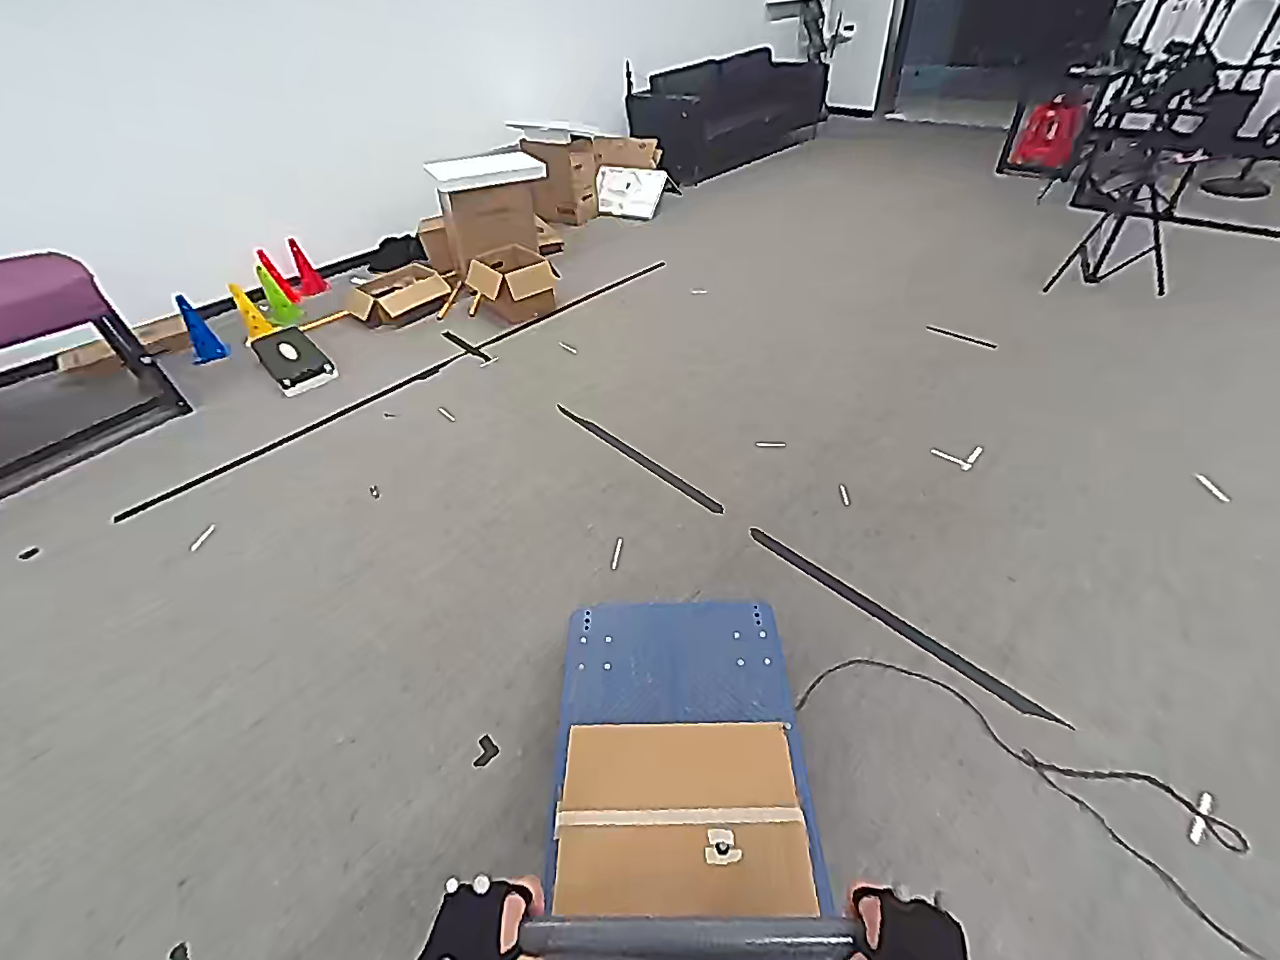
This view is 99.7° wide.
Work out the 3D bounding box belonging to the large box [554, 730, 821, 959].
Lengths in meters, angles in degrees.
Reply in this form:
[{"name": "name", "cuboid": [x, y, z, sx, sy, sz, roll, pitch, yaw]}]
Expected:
[{"name": "large box", "cuboid": [0.073, 0.688, 1.000, 0.408, 0.320, 0.320, -2, 44, 2]}]
